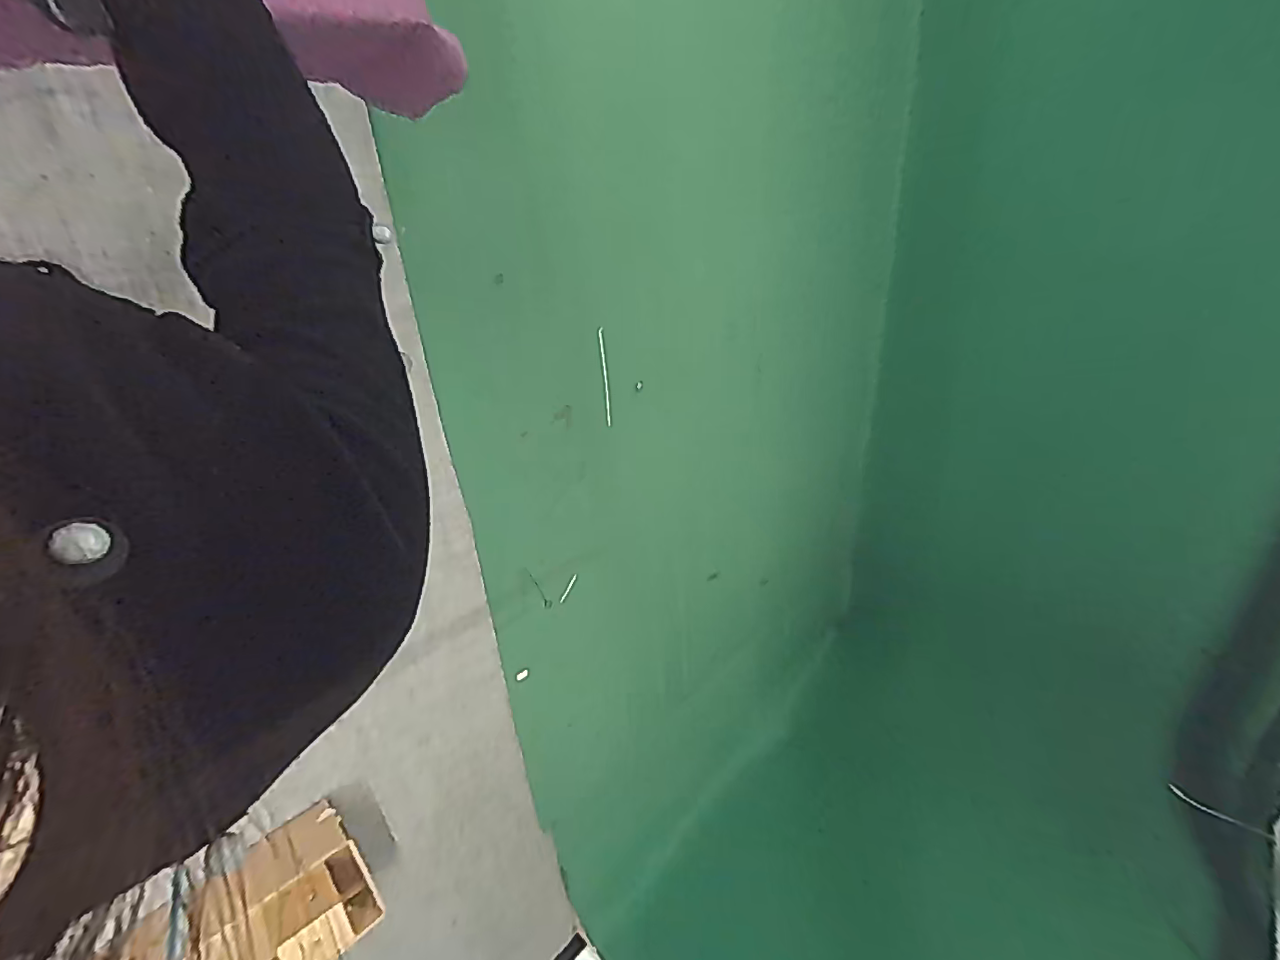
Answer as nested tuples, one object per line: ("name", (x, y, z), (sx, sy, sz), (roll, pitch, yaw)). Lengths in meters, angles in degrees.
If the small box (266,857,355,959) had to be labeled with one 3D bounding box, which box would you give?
("small box", (-0.971, 1.265, 1.593), (0.168, 0.176, 0.179), (-22, 121, -39))
